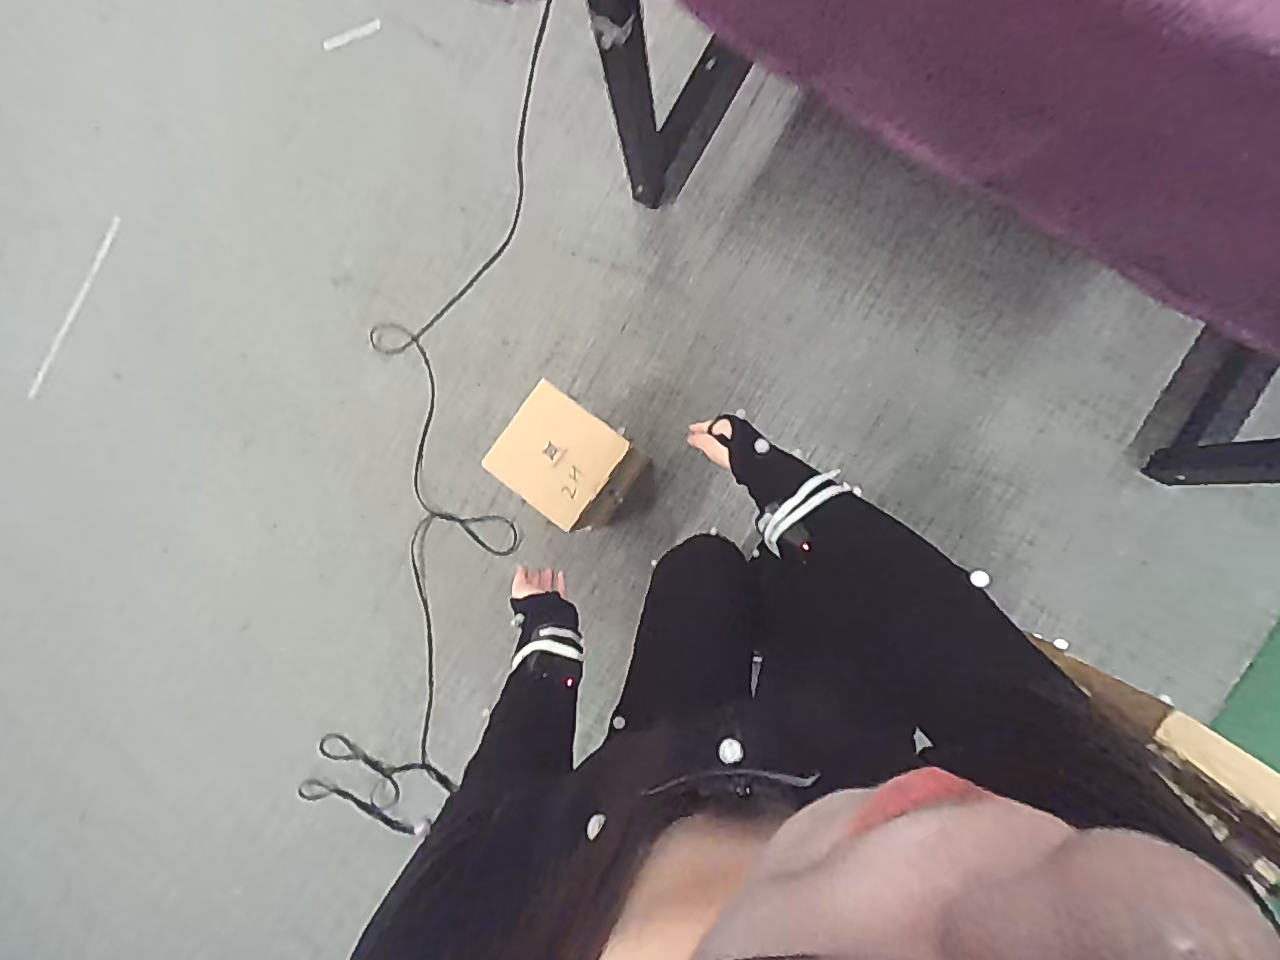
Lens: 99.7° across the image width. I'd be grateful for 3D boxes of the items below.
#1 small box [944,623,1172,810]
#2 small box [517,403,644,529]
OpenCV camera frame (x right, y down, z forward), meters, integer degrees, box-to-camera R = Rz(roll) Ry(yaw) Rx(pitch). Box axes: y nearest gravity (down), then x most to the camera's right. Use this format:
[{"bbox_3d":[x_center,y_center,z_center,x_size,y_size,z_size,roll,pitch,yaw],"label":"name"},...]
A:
[{"bbox_3d":[0.605,0.335,0.813,0.179,0.176,0.168,32,93,4],"label":"small box"},{"bbox_3d":[-0.105,-0.024,1.058,0.168,0.176,0.179,34,92,5],"label":"small box"}]
